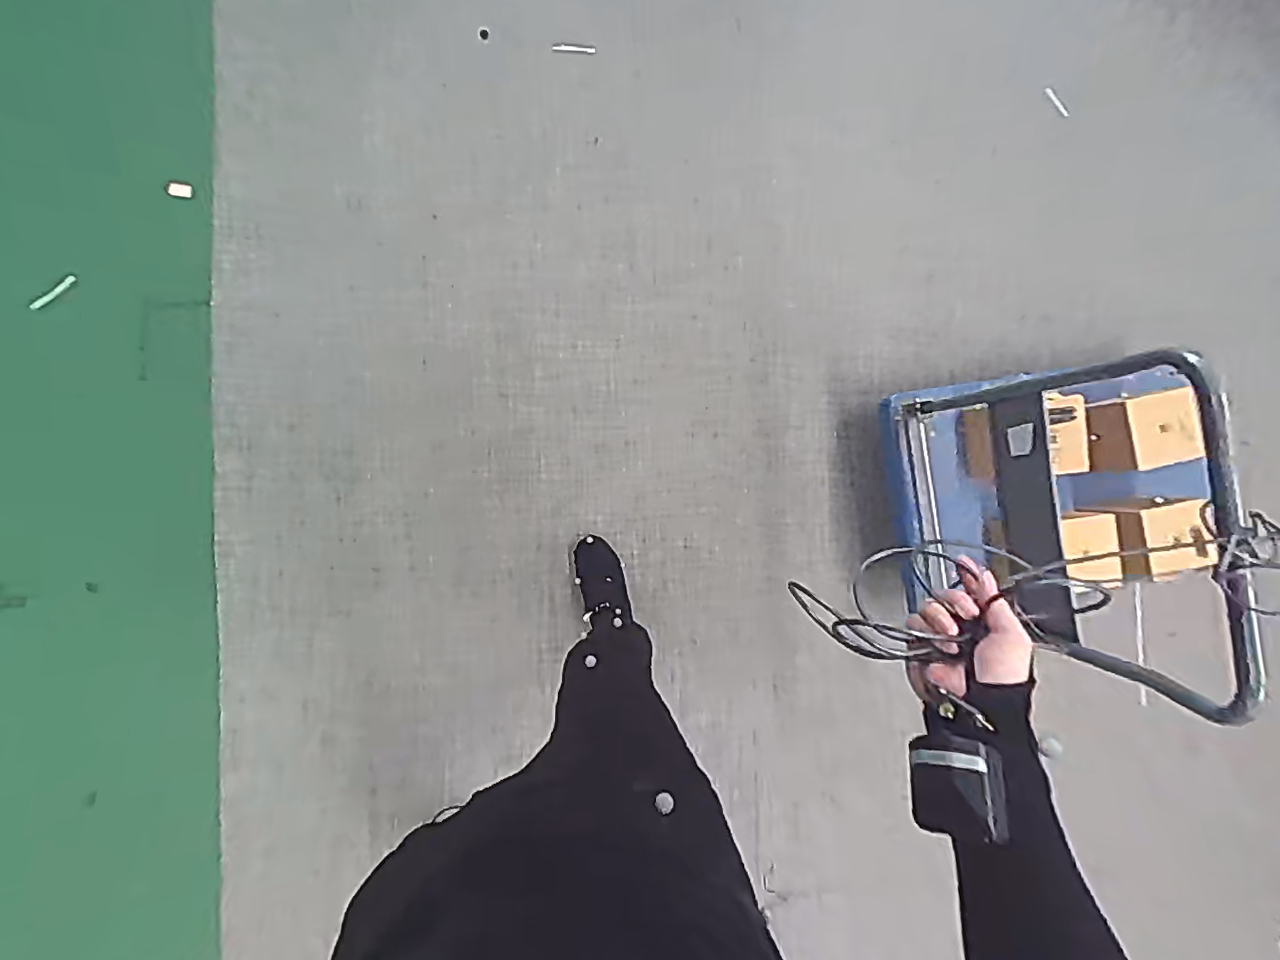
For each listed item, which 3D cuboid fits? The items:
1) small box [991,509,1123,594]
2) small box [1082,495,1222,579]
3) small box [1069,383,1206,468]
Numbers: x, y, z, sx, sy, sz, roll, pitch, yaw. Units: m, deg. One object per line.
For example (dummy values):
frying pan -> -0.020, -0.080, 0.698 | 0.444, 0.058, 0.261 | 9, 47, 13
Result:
small box -> 0.973, 0.160, 1.271 | 0.179, 0.176, 0.168 | -7, 90, -6
small box -> 1.214, 0.130, 1.296 | 0.179, 0.176, 0.168 | -10, 90, -6
small box -> 1.177, -0.124, 1.296 | 0.179, 0.176, 0.168 | -12, 91, -6
